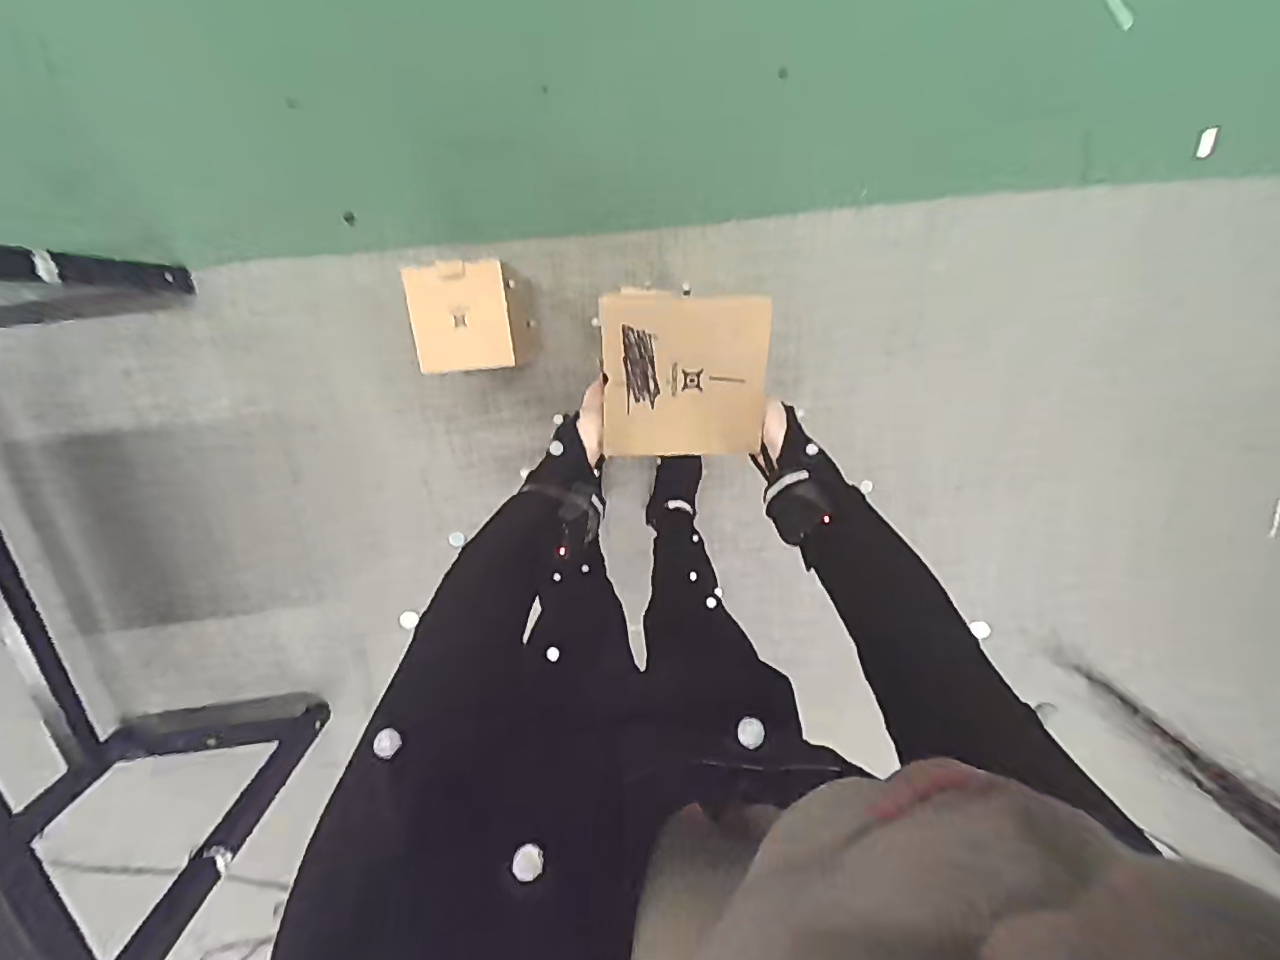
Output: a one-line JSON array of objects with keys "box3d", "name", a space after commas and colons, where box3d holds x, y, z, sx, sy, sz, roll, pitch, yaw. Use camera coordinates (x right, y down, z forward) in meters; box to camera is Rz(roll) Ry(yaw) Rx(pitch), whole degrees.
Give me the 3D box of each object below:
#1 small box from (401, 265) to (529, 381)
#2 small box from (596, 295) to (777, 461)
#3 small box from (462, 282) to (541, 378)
[{"box3d": [-0.304, -0.282, 0.980, 0.168, 0.176, 0.179, -7, 105, -1], "name": "small box"}, {"box3d": [0.043, -0.123, 0.618, 0.179, 0.176, 0.168, -1, 109, -2], "name": "small box"}, {"box3d": [-0.311, -0.320, 1.139, 0.168, 0.176, 0.179, -7, 106, -1], "name": "small box"}]
